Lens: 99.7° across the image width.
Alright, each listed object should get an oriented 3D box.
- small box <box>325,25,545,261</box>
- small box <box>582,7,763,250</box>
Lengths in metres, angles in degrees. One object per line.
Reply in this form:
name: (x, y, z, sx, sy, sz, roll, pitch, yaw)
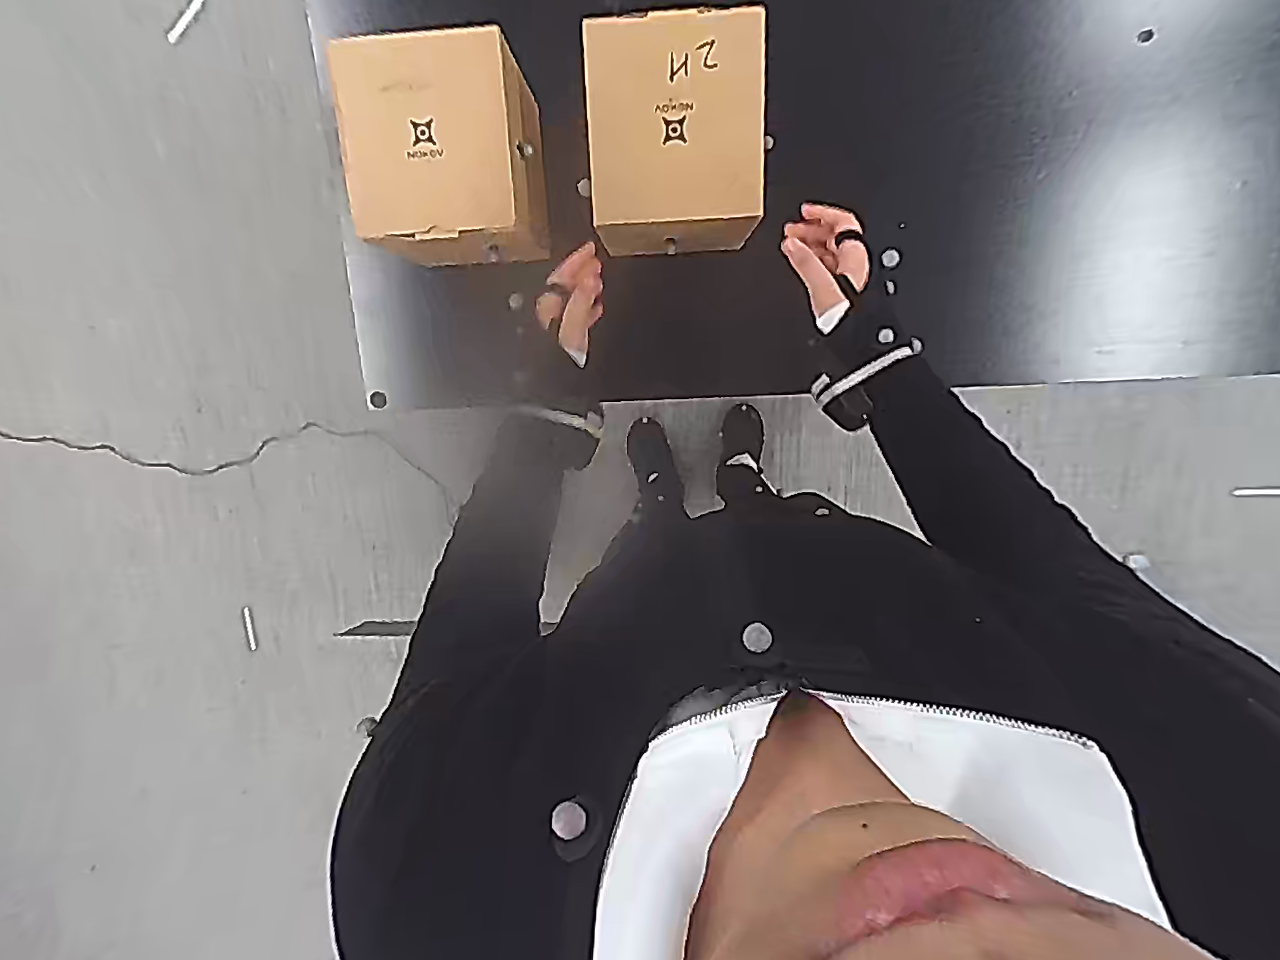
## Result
small box: (-0.205, -0.347, 0.596, 0.168, 0.176, 0.179, -3, 102, 2)
small box: (0.034, -0.352, 0.581, 0.168, 0.176, 0.179, -2, 103, 3)
